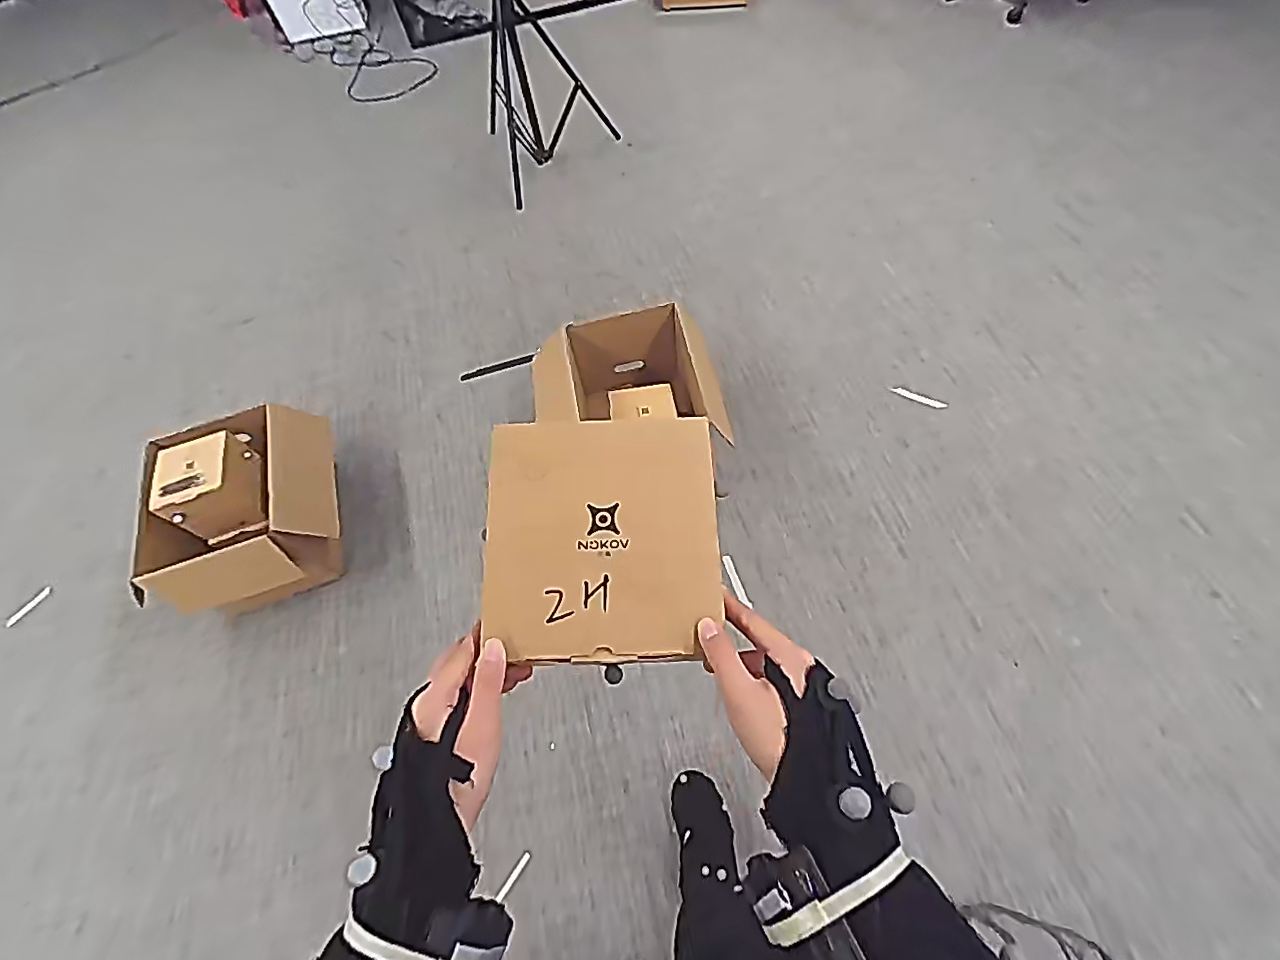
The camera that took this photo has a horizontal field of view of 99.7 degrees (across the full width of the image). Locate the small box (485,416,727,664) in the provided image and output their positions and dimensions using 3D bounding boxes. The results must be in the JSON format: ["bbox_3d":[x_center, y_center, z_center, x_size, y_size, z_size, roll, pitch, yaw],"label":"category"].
[{"bbox_3d":[-0.024,0.061,0.466,0.168,0.176,0.179,-2,69,0],"label":"small box"}]
